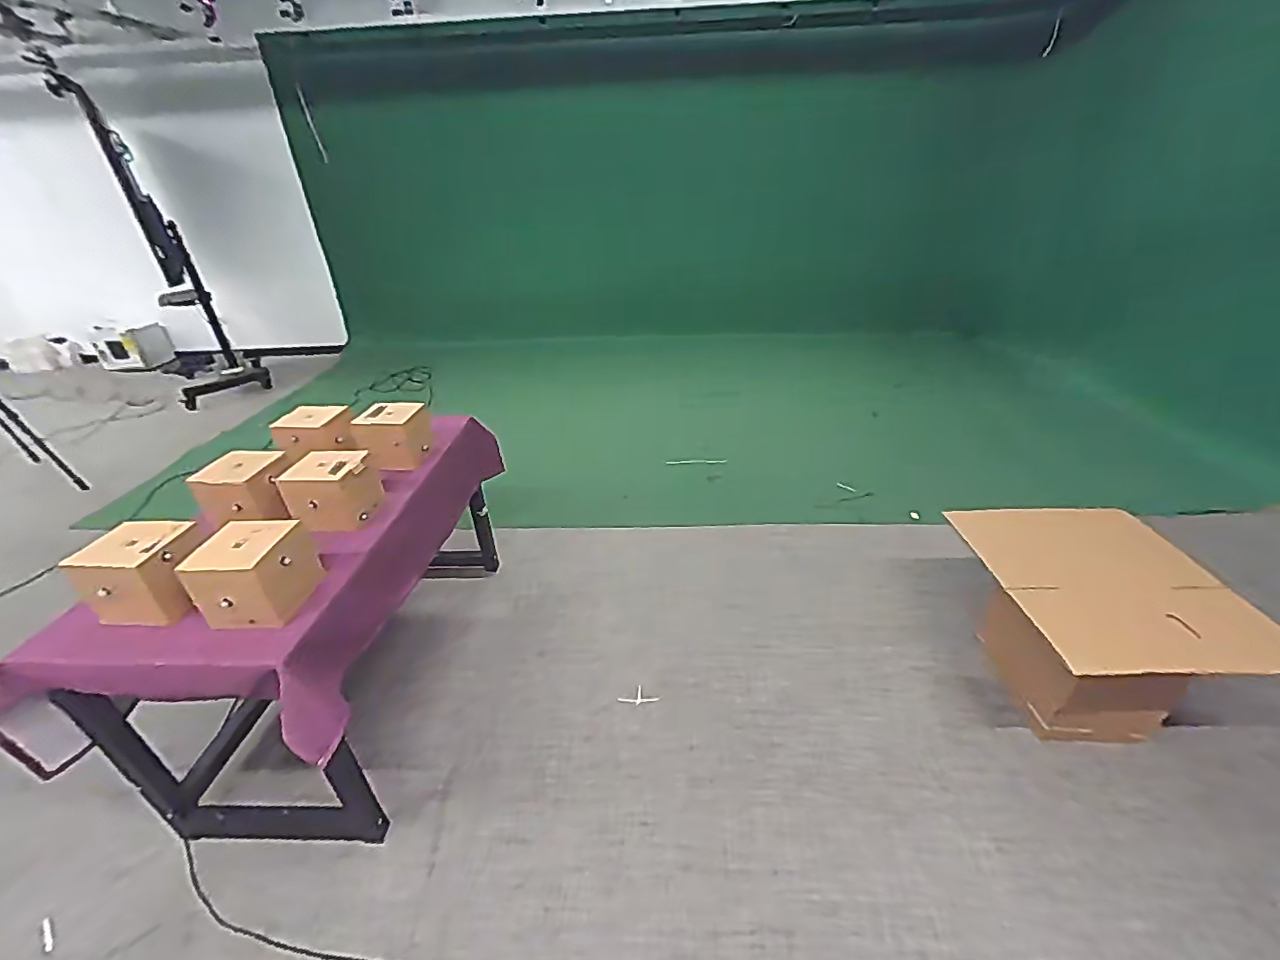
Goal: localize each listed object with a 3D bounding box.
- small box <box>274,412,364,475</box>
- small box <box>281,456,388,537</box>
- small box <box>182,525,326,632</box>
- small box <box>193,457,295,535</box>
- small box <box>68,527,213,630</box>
[{"bbox_3d":[-1.060,-0.117,1.804,0.179,0.176,0.168,0,31,7],"label":"small box"},{"bbox_3d":[-0.834,0.045,1.498,0.179,0.176,0.168,-1,30,6],"label":"small box"},{"bbox_3d":[-0.838,0.219,1.198,0.168,0.176,0.179,-1,30,4],"label":"small box"},{"bbox_3d":[-1.083,0.049,1.522,0.168,0.176,0.179,1,30,6],"label":"small box"},{"bbox_3d":[-1.095,0.222,1.223,0.179,0.176,0.168,-1,30,5],"label":"small box"}]
